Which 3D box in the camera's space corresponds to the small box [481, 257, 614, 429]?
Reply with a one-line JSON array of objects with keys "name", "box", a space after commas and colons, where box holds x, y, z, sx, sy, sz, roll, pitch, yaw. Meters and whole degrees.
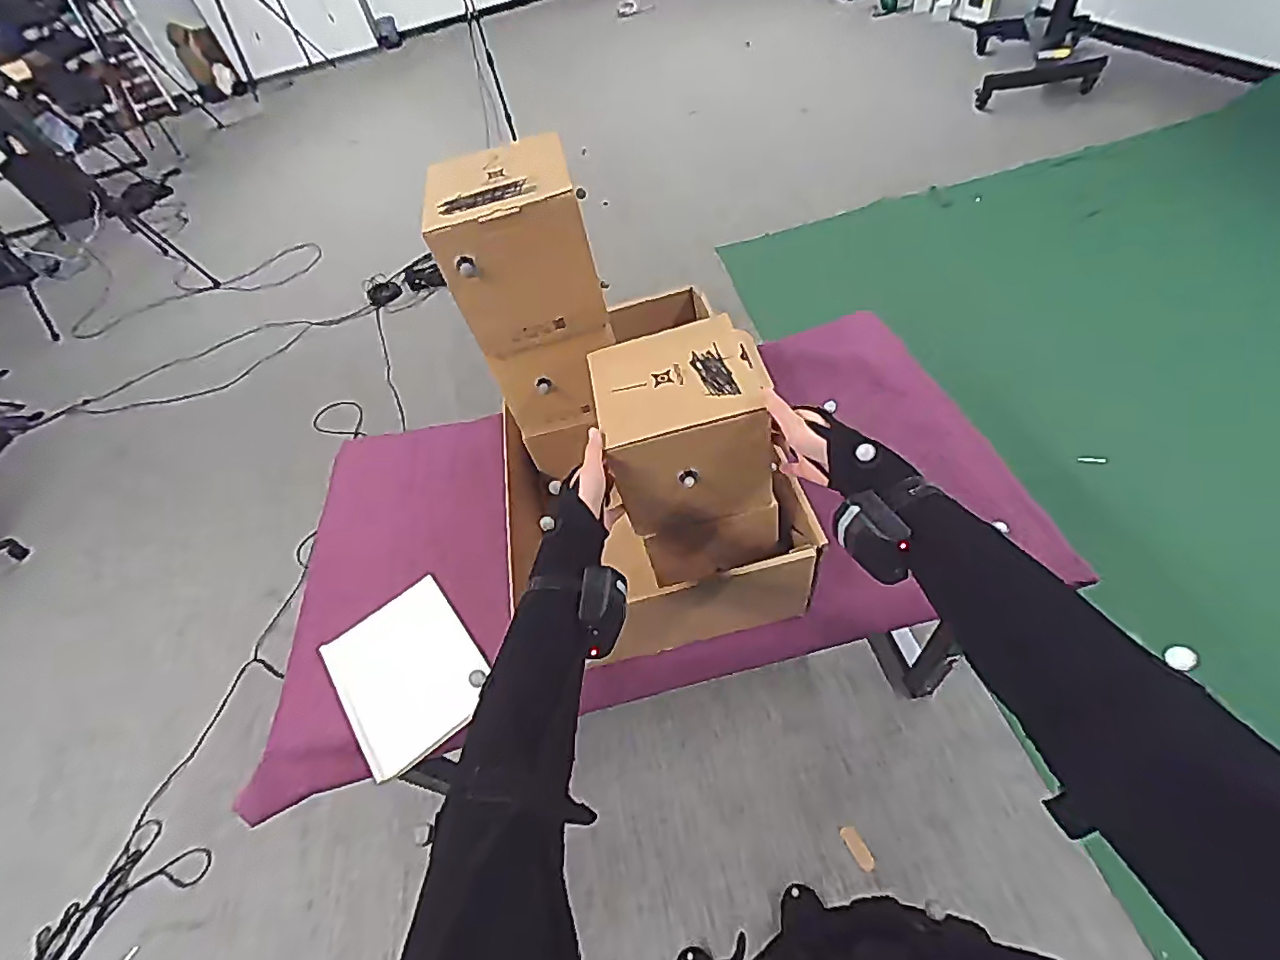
[{"name": "small box", "box": [-0.124, -0.194, 0.806, 0.168, 0.176, 0.179, -14, 51, 2]}]

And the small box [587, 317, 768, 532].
[{"name": "small box", "box": [0.047, -0.061, 0.651, 0.179, 0.176, 0.168, -15, 49, 4]}]
